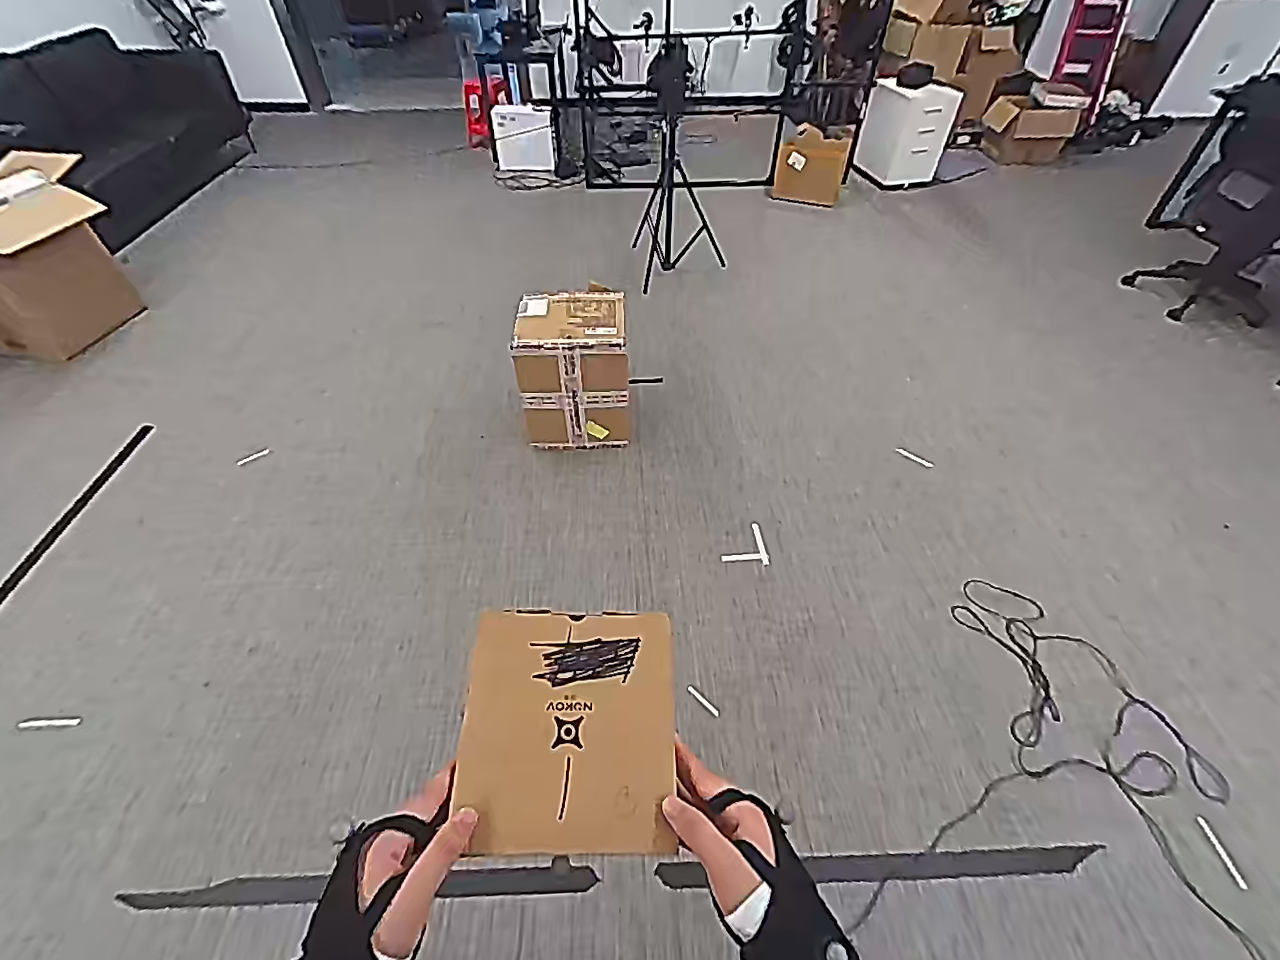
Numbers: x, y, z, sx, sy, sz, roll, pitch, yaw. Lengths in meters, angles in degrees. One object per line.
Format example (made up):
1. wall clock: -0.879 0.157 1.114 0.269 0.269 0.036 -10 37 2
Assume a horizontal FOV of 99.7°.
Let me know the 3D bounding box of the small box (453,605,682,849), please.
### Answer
1. small box: -0.056 0.229 0.493 0.168 0.176 0.179 2 58 -3
